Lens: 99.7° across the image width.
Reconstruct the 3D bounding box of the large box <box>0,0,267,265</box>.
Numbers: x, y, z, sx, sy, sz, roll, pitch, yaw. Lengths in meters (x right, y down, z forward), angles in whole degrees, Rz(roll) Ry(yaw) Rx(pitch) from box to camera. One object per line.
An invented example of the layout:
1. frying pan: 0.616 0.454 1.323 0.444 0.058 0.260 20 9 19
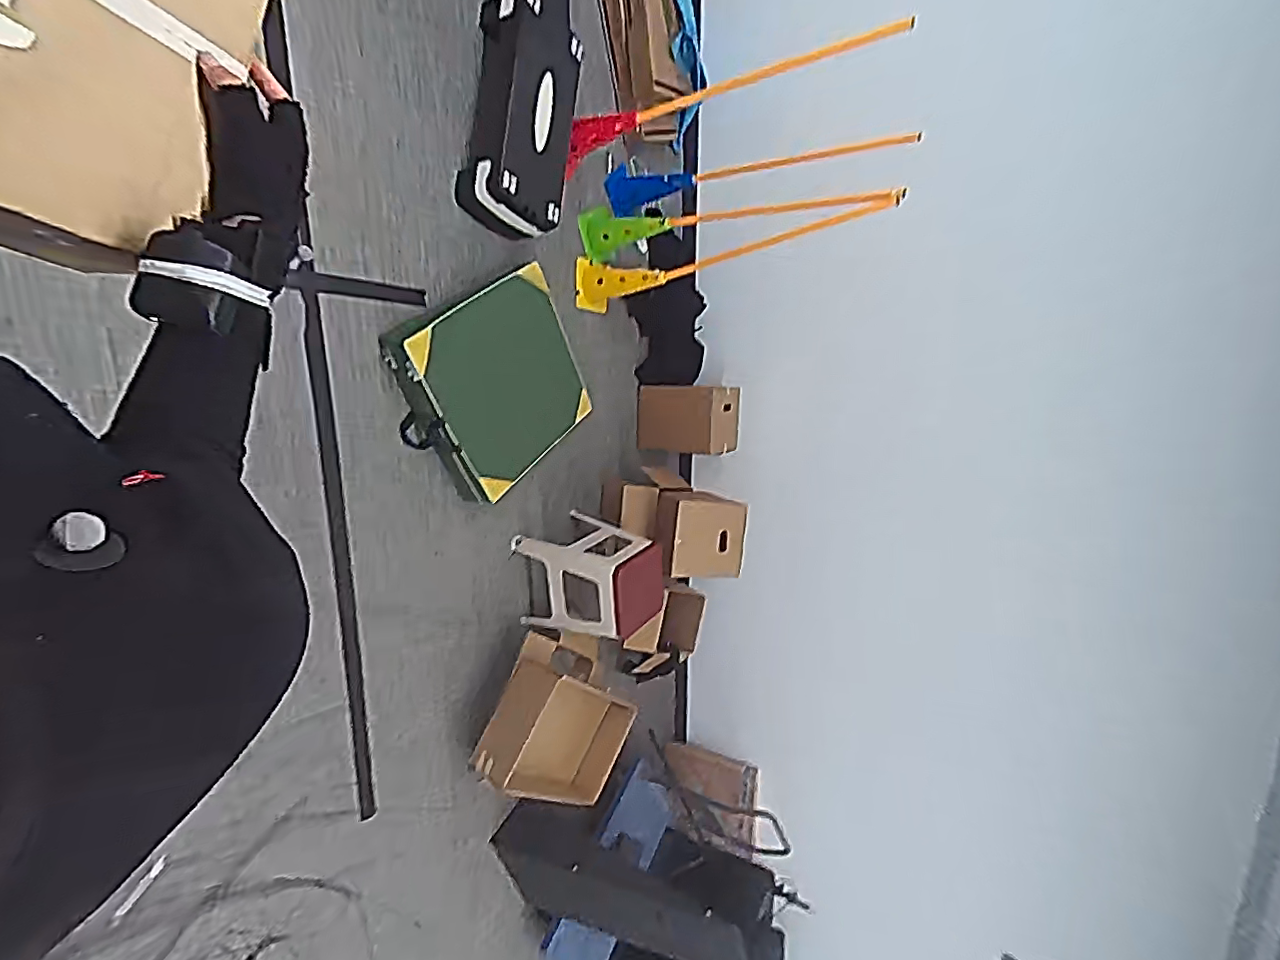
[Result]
1. large box: -0.543 -0.373 0.345 0.408 0.320 0.320 14 91 -58
